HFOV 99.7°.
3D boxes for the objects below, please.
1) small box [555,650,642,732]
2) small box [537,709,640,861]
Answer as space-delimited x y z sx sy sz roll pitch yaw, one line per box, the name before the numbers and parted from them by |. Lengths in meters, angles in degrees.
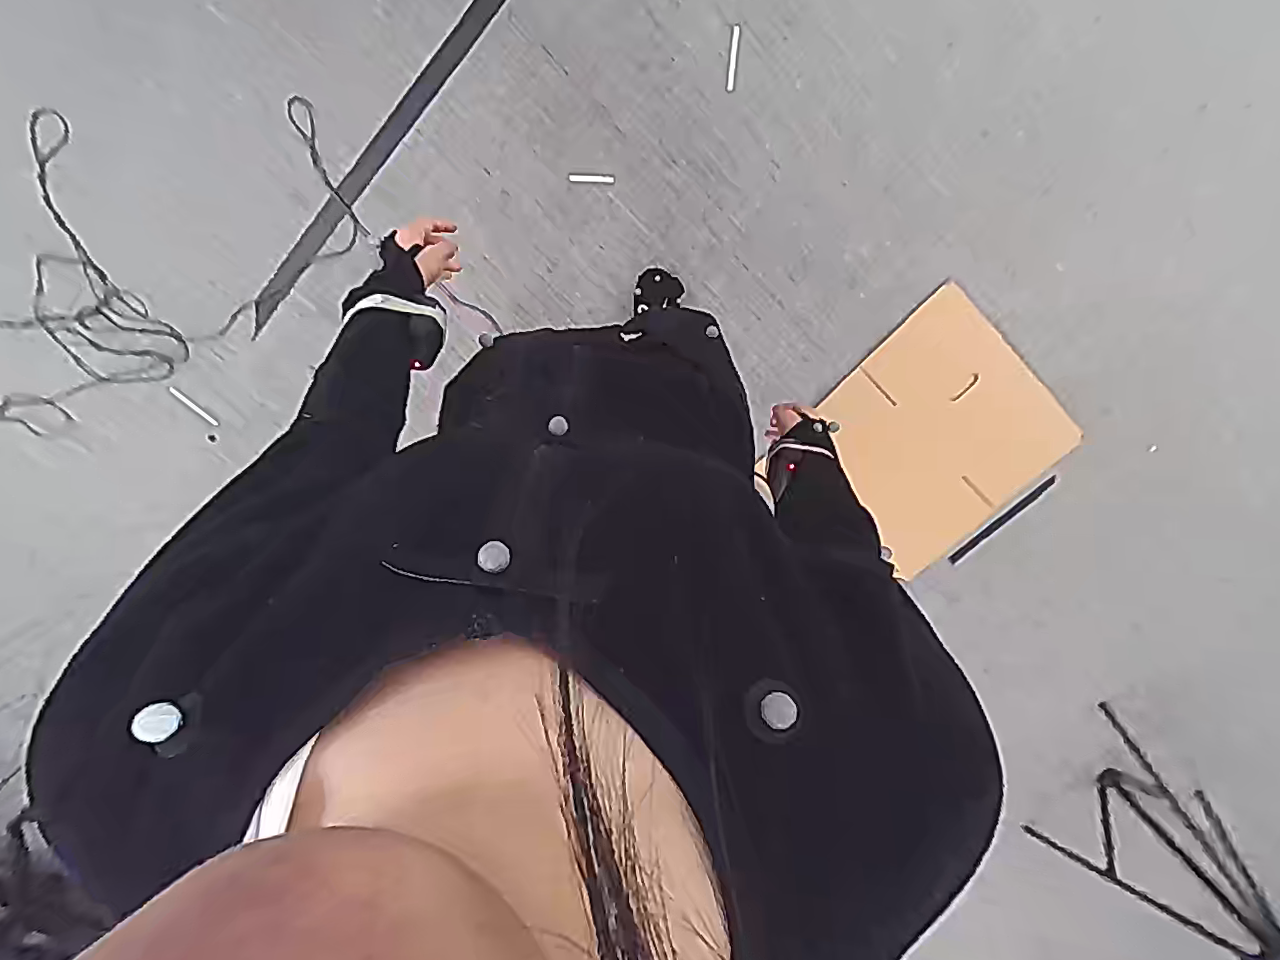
small box | -0.083 0.479 1.114 0.168 0.176 0.179 3 111 -1
small box | -0.088 0.532 0.960 0.168 0.176 0.179 3 110 -1
